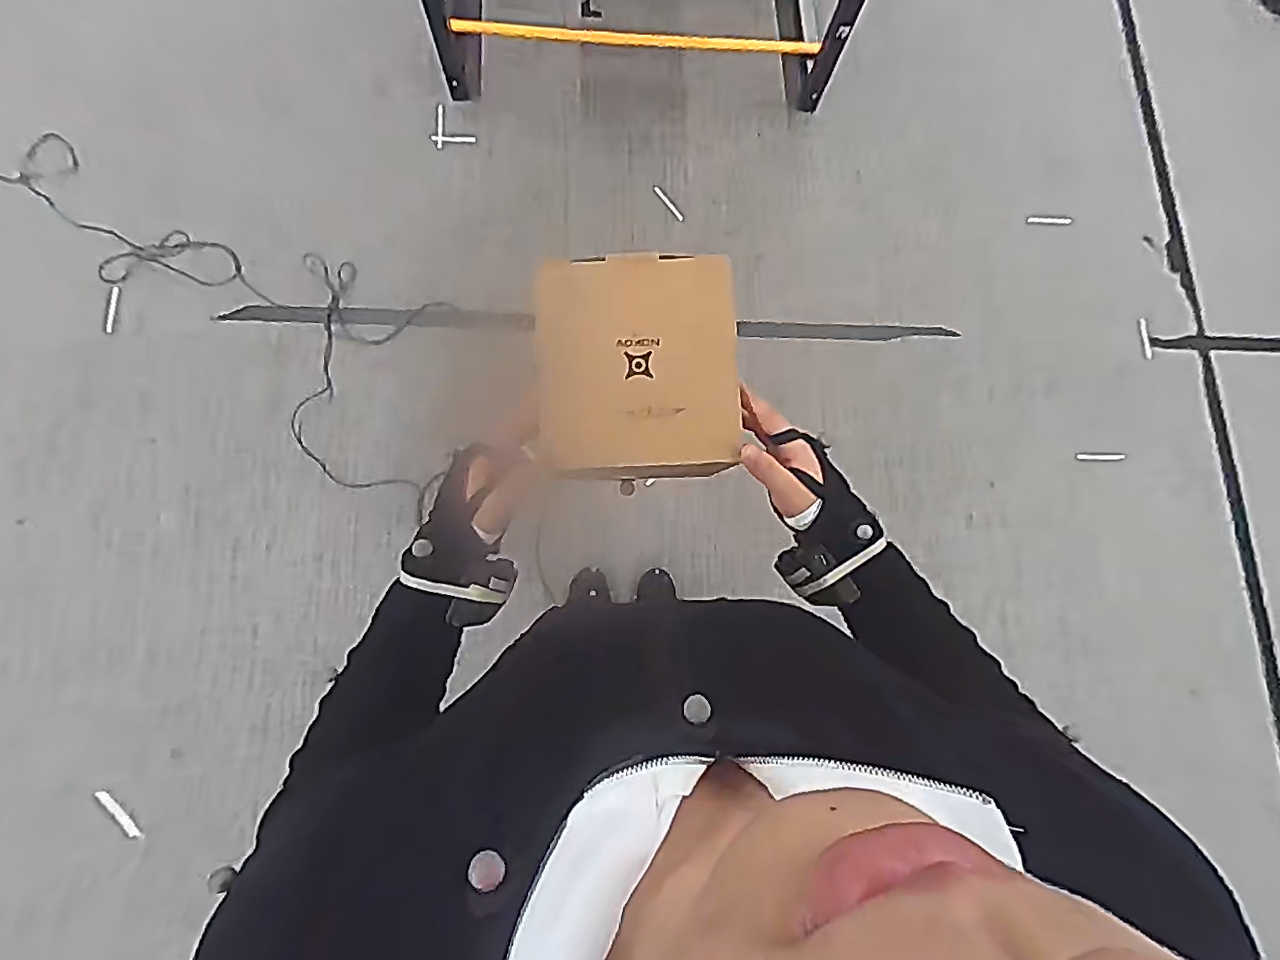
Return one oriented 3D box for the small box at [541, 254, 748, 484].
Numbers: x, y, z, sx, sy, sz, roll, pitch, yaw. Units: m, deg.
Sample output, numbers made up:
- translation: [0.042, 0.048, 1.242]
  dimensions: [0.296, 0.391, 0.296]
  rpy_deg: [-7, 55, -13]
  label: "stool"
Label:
- translation: [0.001, -0.092, 0.518]
  dimensions: [0.168, 0.176, 0.179]
  rpy_deg: [-3, 86, -1]
  label: "small box"
